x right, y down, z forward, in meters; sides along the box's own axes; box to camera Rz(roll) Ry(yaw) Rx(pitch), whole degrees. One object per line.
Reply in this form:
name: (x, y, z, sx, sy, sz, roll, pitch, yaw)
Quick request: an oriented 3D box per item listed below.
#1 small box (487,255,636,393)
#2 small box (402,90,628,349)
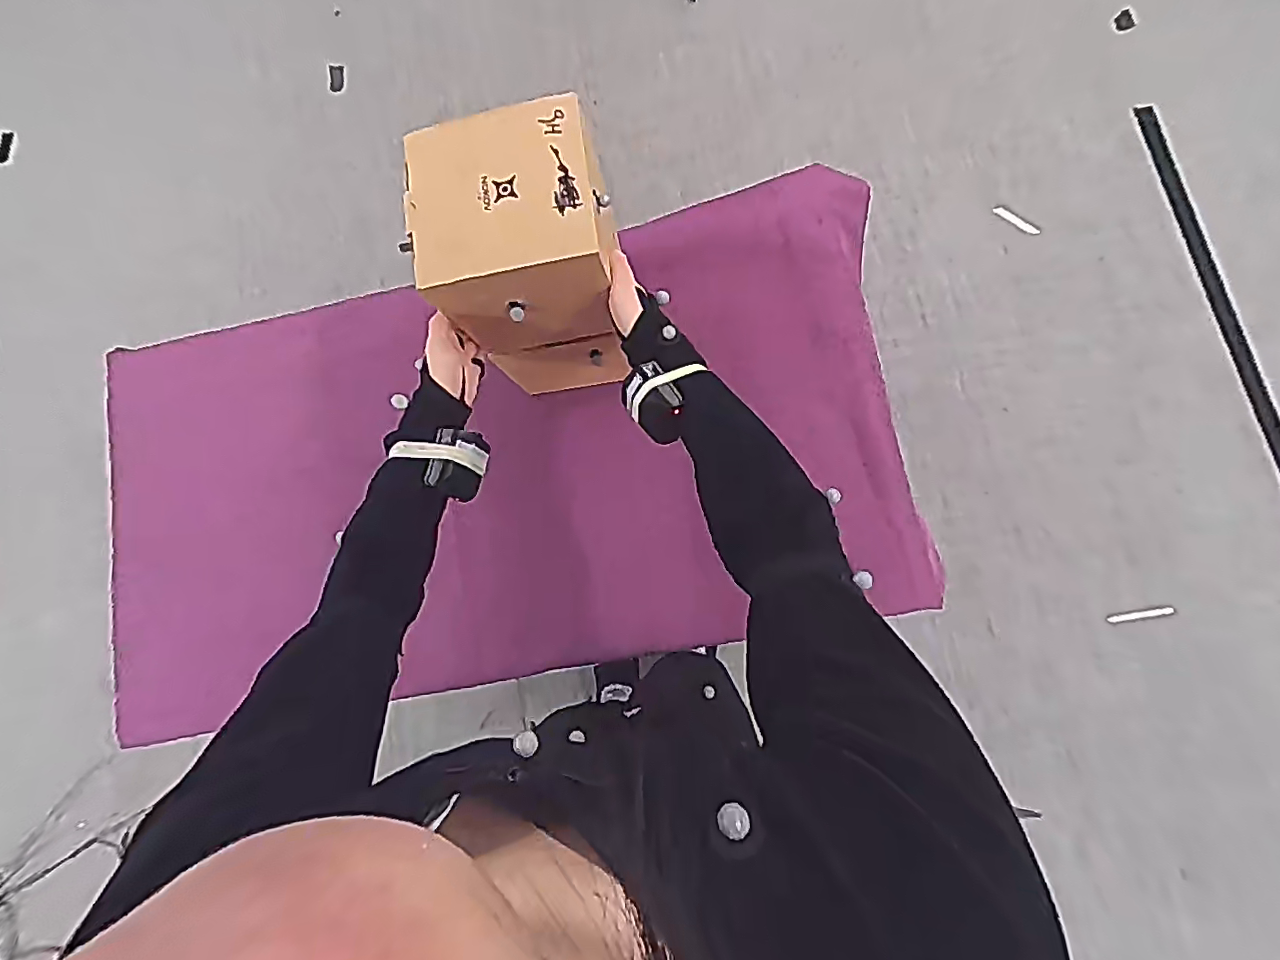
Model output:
small box: (-0.102, -0.230, 0.744, 0.179, 0.176, 0.168, -8, 81, 6)
small box: (-0.120, -0.253, 0.571, 0.179, 0.176, 0.168, -9, 82, 7)
